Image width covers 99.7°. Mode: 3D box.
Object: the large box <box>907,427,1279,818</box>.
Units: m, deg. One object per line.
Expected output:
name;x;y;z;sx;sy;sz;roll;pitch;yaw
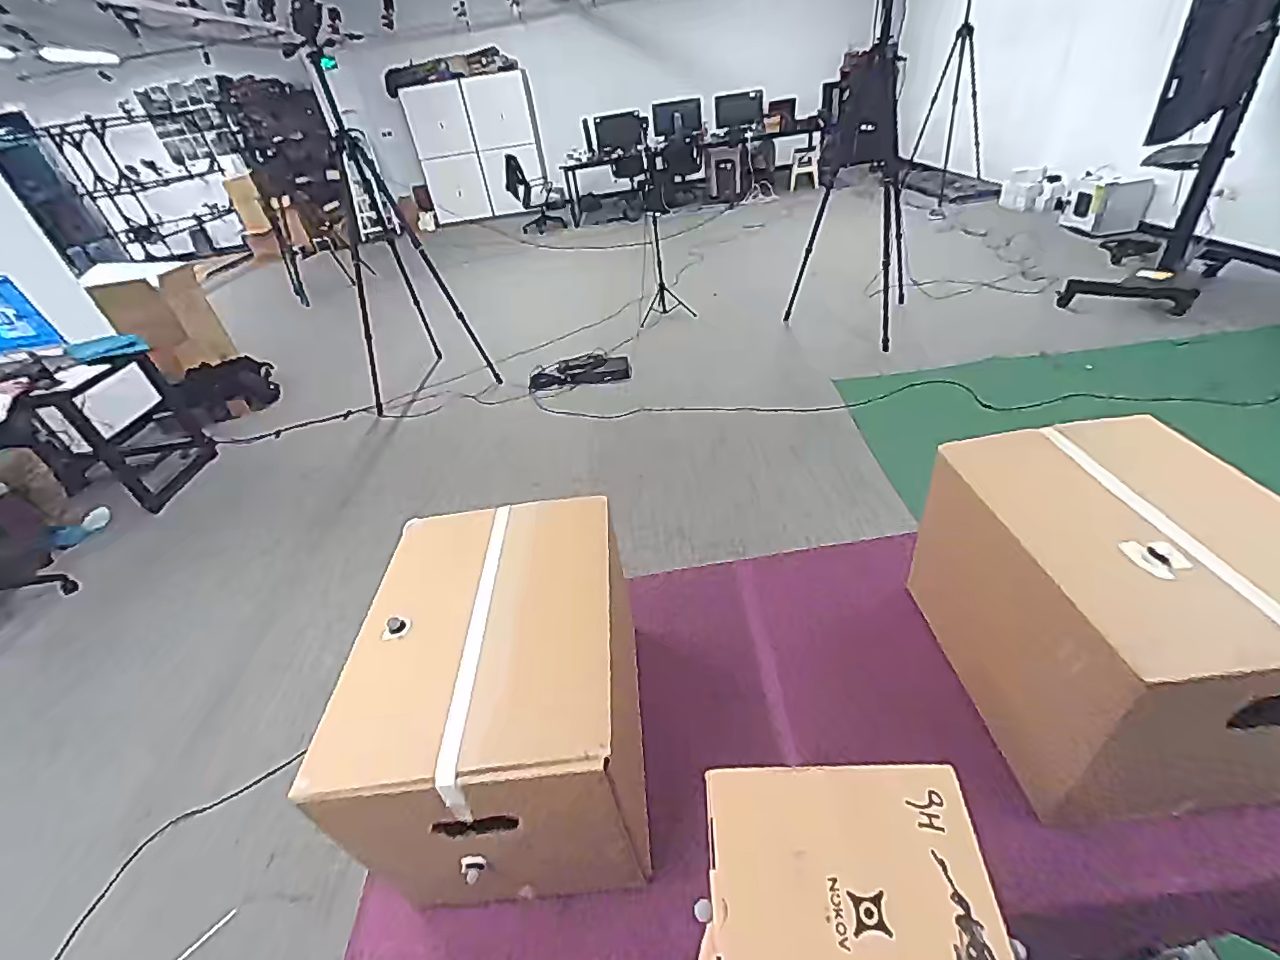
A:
large box;0.627;0.173;0.739;0.320;0.320;0.408;-7;37;3
